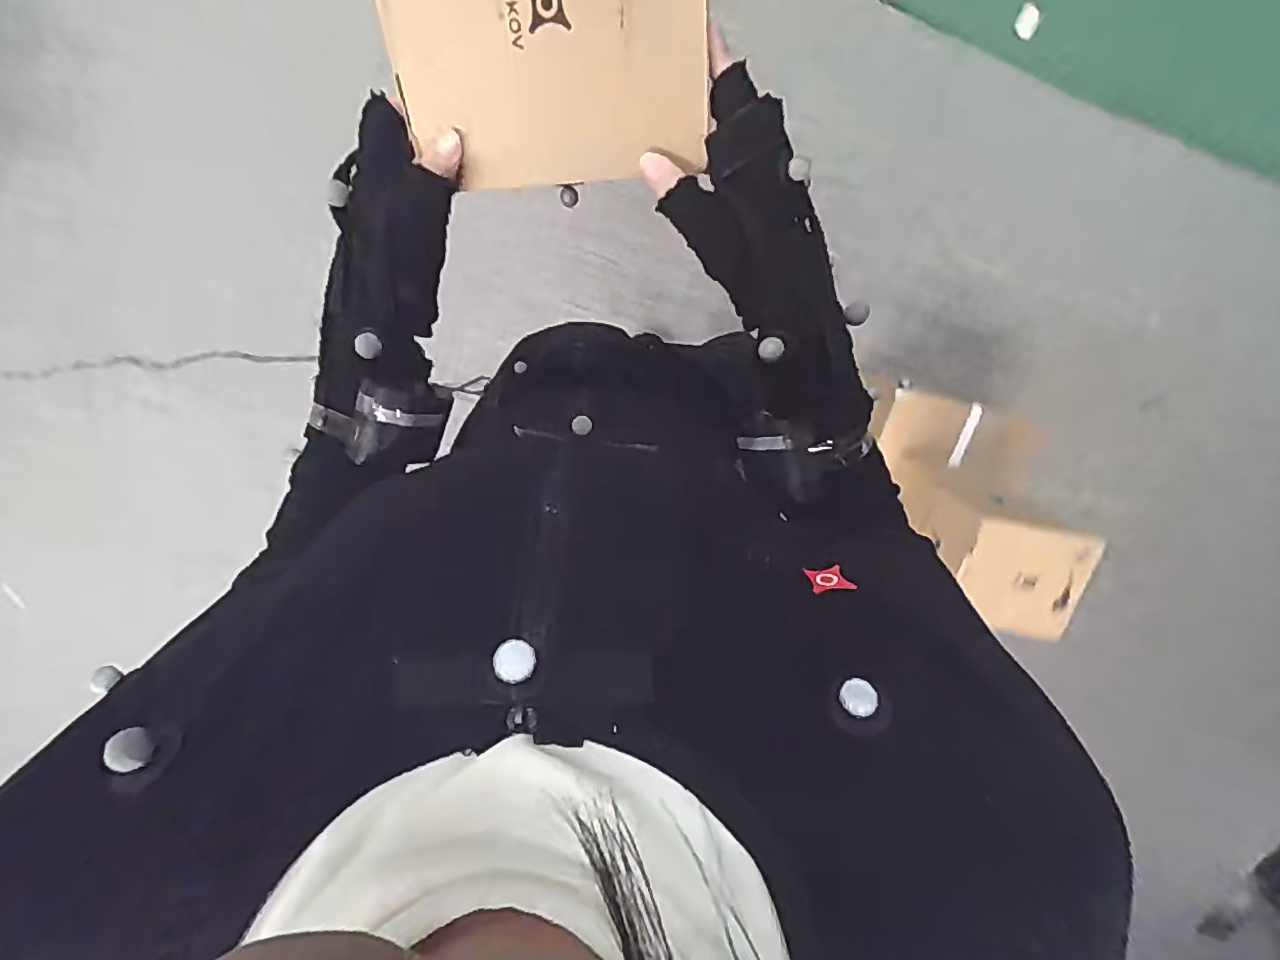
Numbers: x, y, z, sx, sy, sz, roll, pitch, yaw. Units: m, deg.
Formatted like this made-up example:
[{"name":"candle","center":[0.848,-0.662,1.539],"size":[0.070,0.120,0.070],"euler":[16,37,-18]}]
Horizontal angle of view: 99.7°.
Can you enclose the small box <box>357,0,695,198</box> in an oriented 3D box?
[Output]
[{"name":"small box","center":[-0.057,-0.285,0.347],"size":[0.179,0.176,0.168],"euler":[-4,121,5]}]

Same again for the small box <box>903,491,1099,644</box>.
[{"name":"small box","center":[0.553,0.129,0.862],"size":[0.179,0.176,0.168],"euler":[12,108,1]}]
